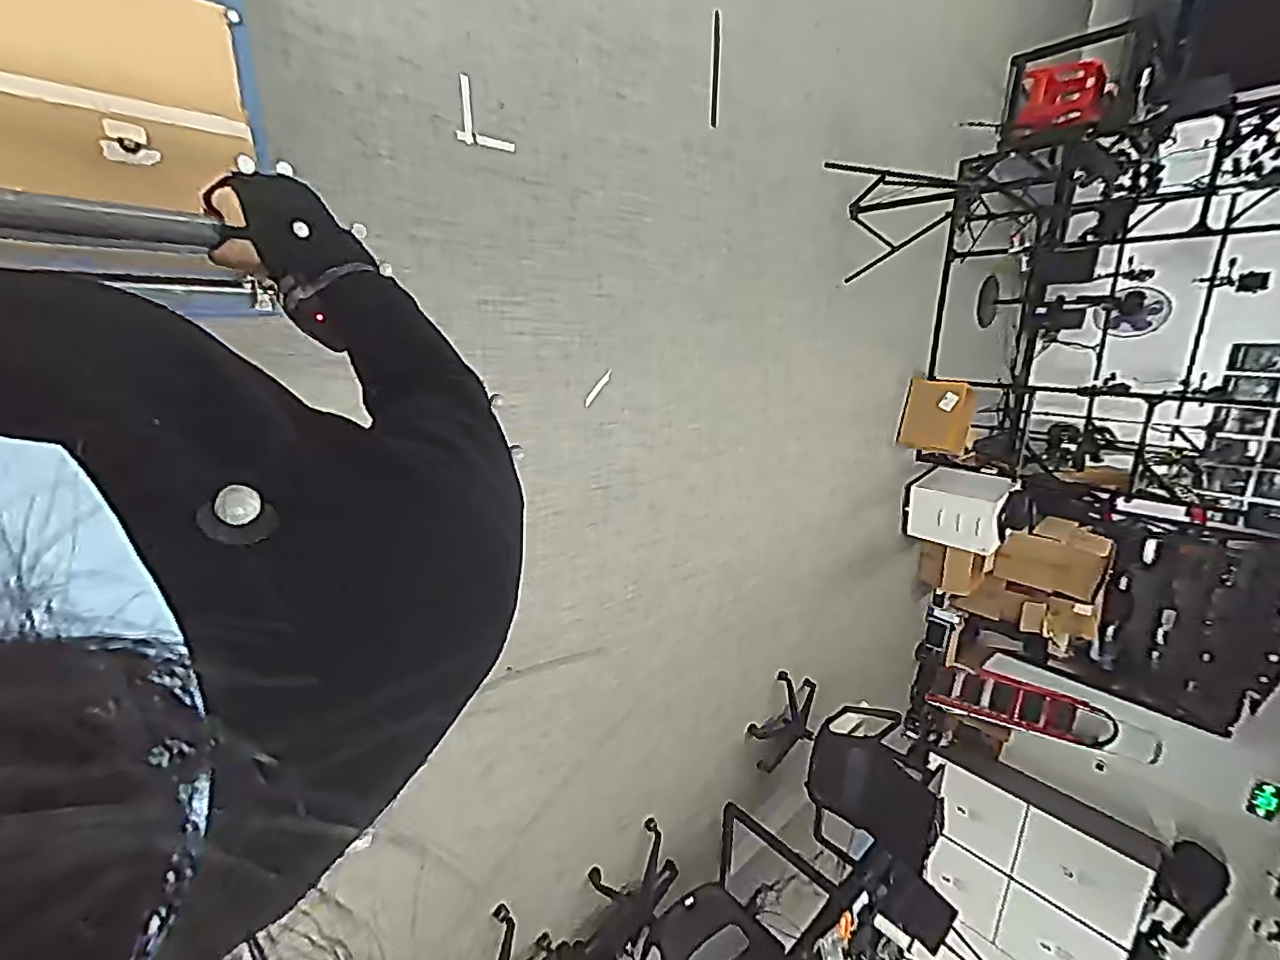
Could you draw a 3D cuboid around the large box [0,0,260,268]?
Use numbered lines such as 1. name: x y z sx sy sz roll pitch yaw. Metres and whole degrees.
1. large box: -0.825 -0.489 0.758 0.408 0.320 0.320 -13 110 -42
